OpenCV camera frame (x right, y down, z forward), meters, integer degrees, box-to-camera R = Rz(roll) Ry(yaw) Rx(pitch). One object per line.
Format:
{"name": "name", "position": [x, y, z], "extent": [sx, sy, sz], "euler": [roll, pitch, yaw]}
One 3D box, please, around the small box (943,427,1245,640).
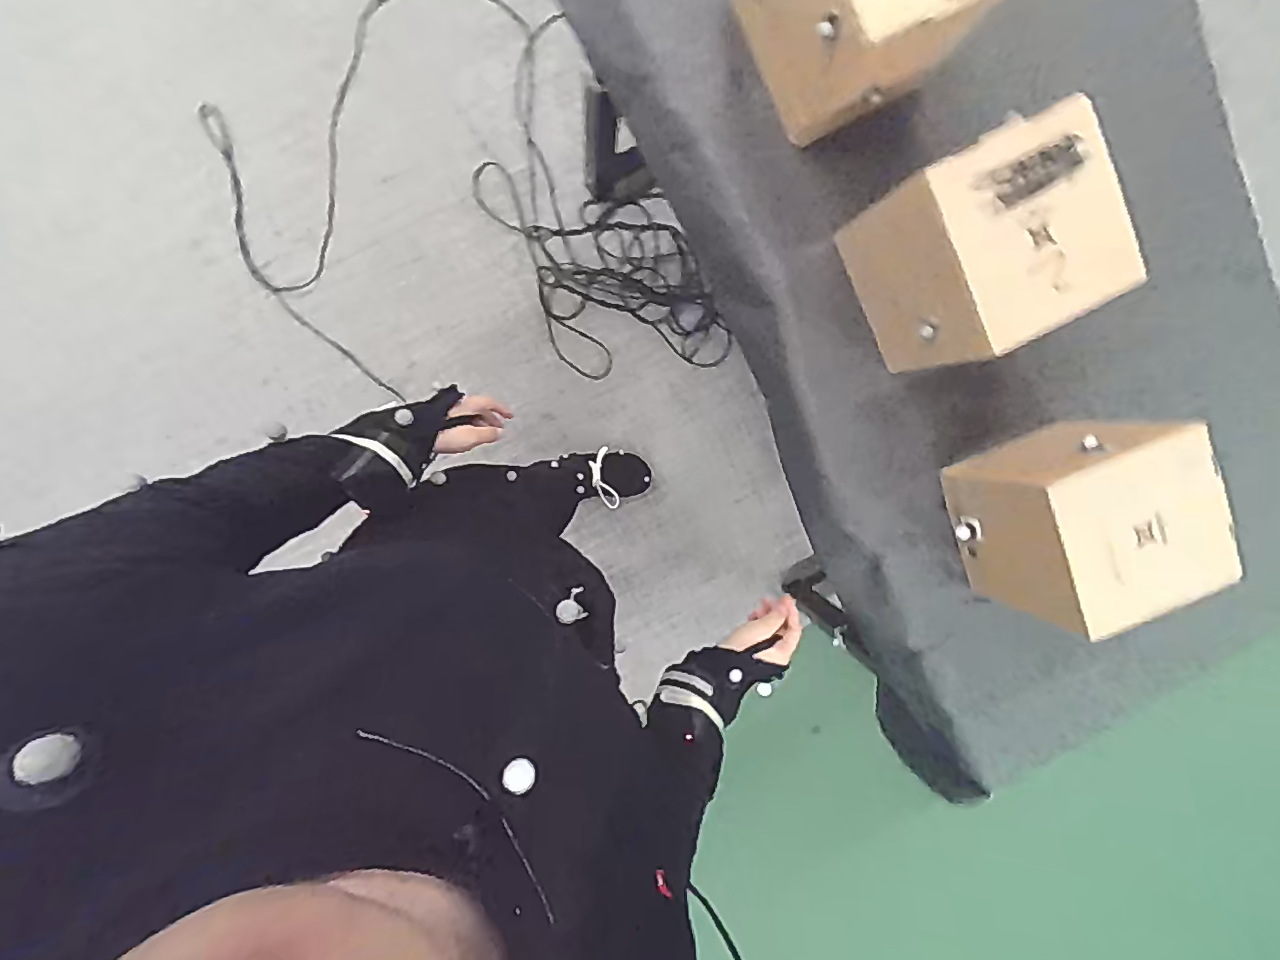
{"name": "small box", "position": [0.484, 0.044, 0.600], "extent": [0.179, 0.176, 0.168], "euler": [-21, 96, -3]}

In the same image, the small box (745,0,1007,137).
{"name": "small box", "position": [0.221, -0.481, 0.517], "extent": [0.168, 0.176, 0.179], "euler": [-28, 99, -3]}
